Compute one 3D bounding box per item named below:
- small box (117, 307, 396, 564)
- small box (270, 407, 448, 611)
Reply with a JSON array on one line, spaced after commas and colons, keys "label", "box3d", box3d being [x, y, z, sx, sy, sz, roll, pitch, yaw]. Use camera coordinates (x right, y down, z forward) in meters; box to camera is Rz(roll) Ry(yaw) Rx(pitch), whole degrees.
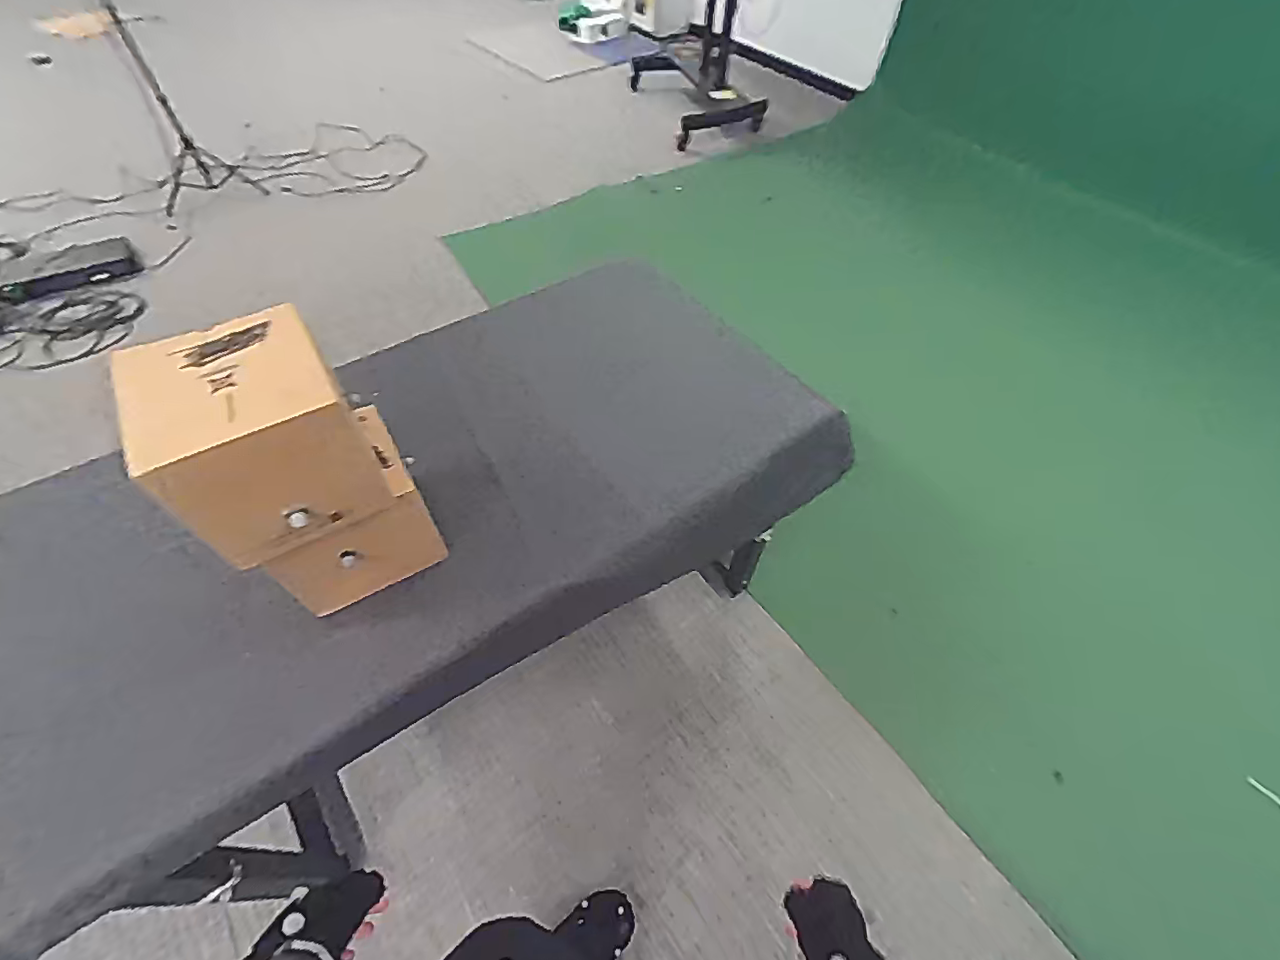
[{"label": "small box", "box3d": [-0.390, -0.046, 0.571, 0.168, 0.176, 0.179, -30, 58, -22]}, {"label": "small box", "box3d": [-0.381, 0.042, 0.710, 0.179, 0.176, 0.168, -27, 59, -19]}]
